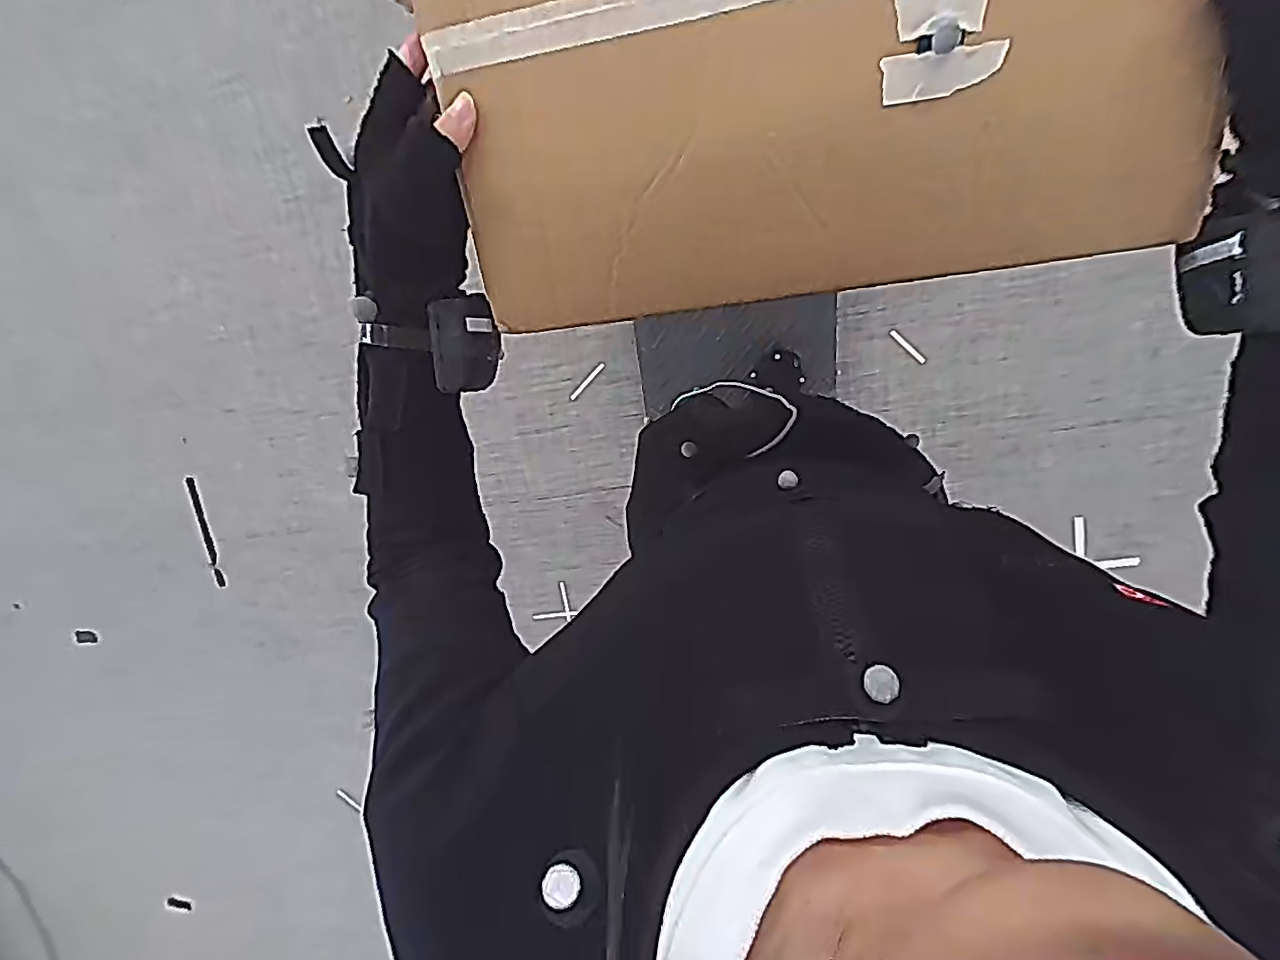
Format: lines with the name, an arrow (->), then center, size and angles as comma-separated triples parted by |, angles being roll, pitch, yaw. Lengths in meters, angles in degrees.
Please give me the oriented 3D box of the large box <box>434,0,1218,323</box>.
large box -> 0.098, -0.326, 0.415 | 0.408, 0.320, 0.320 | -6, 114, 10
